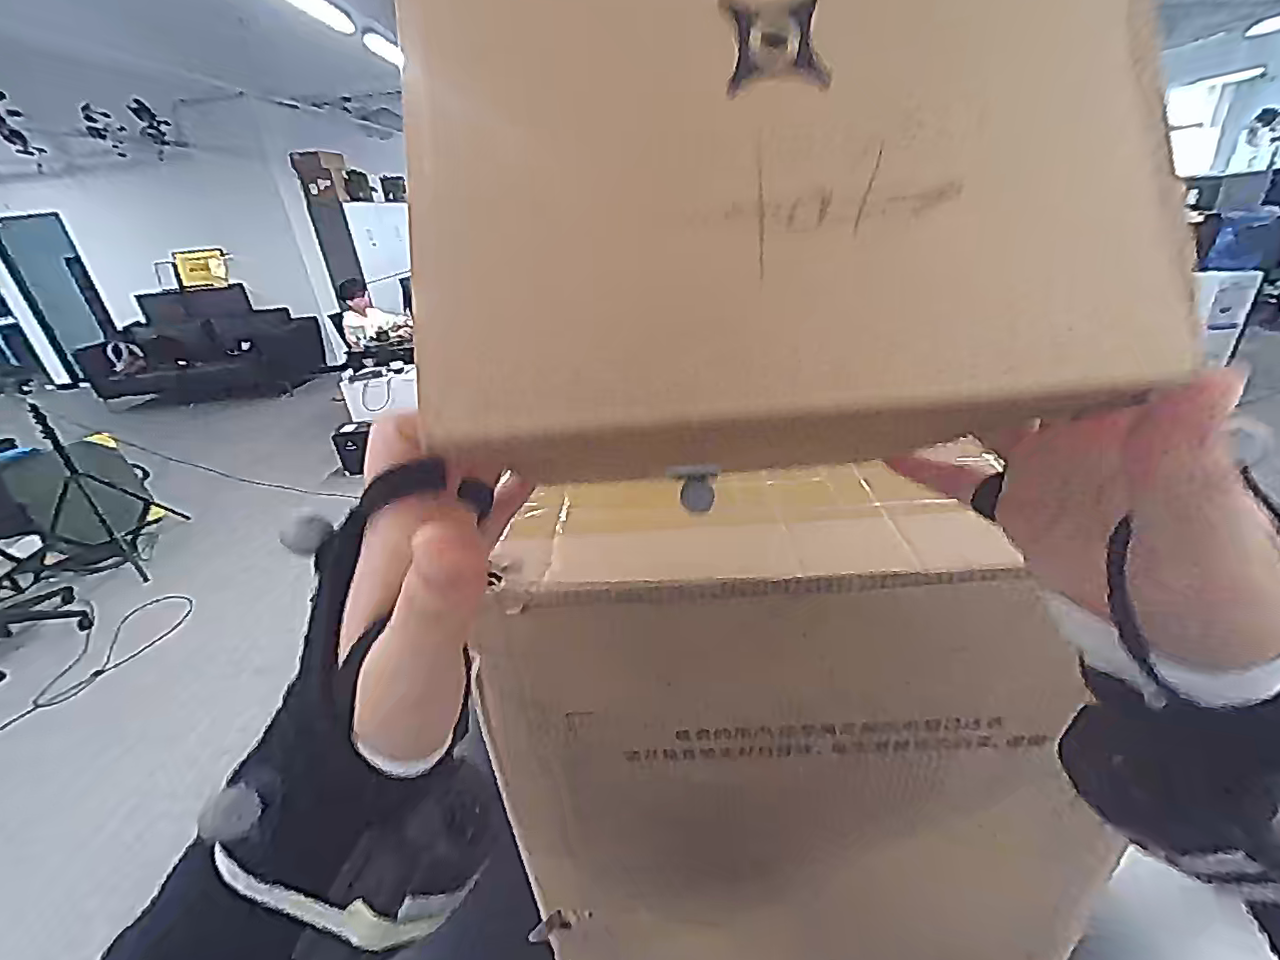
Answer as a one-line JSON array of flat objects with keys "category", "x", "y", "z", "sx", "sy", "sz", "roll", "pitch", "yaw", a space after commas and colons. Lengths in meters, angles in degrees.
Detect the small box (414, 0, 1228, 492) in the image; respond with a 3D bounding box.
[{"category": "small box", "x": 0.033, "y": -0.092, "z": 0.198, "sx": 0.168, "sy": 0.179, "sz": 0.176, "roll": -5, "pitch": -4, "yaw": 1}]
